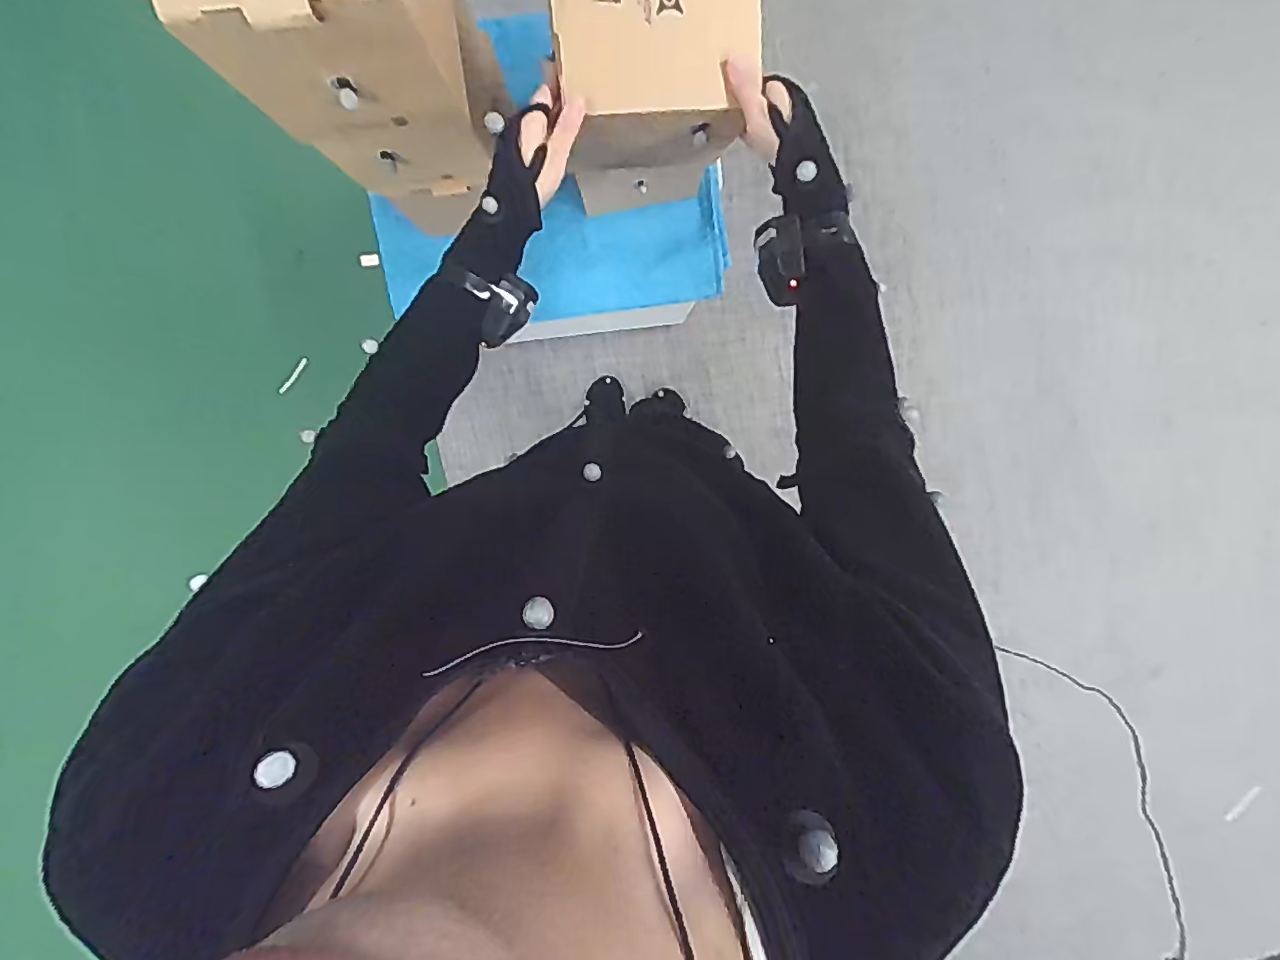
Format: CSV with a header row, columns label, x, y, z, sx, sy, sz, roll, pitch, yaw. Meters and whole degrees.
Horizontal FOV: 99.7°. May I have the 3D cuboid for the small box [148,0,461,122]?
label,x,y,z,sx,sy,sz,roll,pitch,yaw
small box,-0.251,-0.410,0.422,0.168,0.176,0.179,-6,97,-2

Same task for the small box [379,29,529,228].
label,x,y,z,sx,sy,sz,roll,pitch,yaw
small box,-0.256,-0.464,0.744,0.168,0.176,0.179,-7,97,-2

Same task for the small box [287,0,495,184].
label,x,y,z,sx,sy,sz,roll,pitch,yaw
small box,-0.263,-0.441,0.583,0.168,0.176,0.179,-6,97,-1
